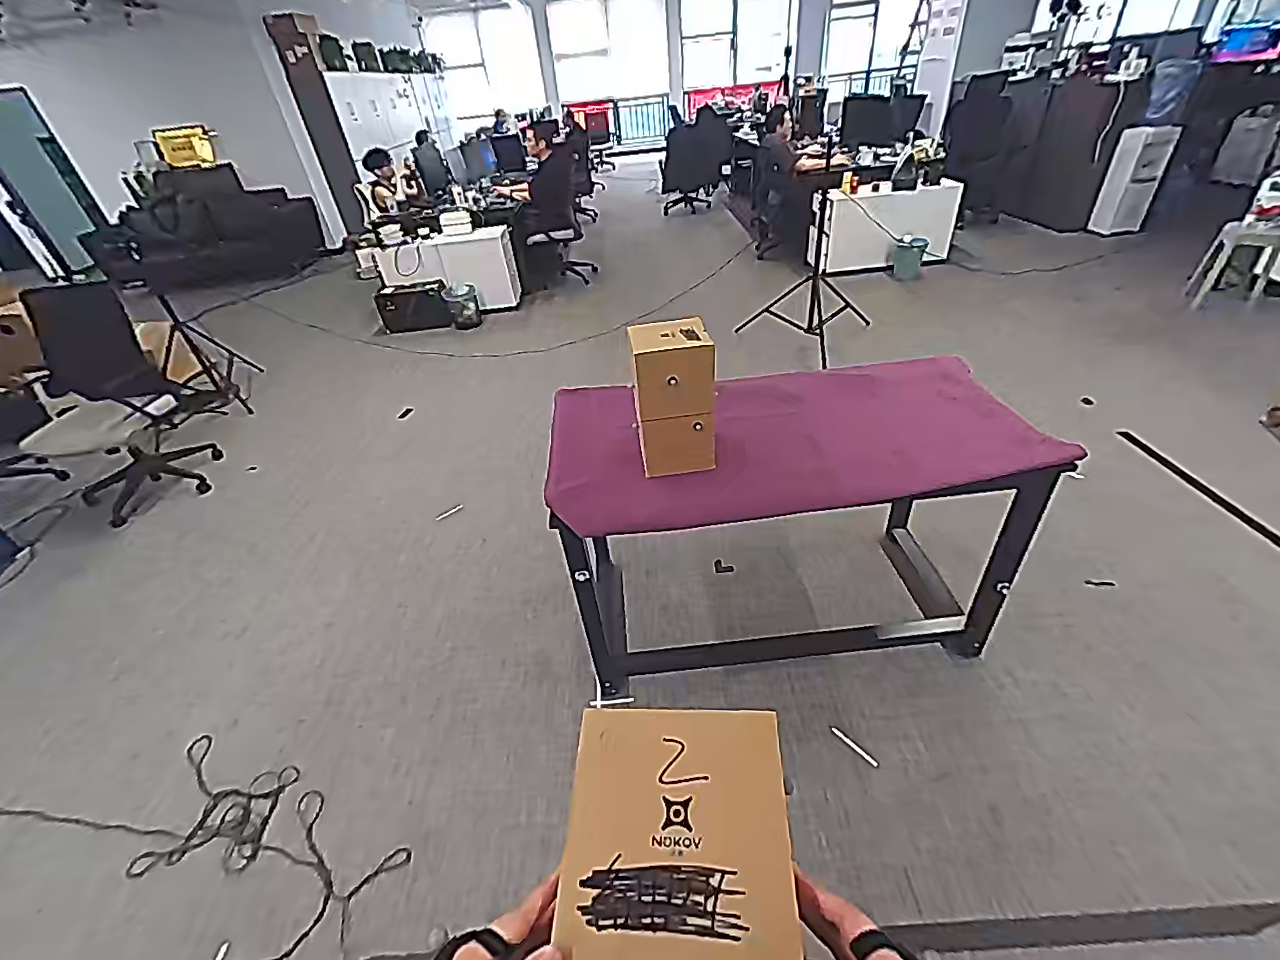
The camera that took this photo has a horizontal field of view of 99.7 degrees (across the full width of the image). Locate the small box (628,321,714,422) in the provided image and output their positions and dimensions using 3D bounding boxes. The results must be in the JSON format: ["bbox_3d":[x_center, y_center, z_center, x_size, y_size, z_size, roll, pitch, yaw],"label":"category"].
[{"bbox_3d":[0.071,-0.253,1.259,0.179,0.176,0.168,-8,36,-2],"label":"small box"}]

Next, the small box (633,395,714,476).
[{"bbox_3d":[0.084,-0.124,1.361,0.179,0.176,0.168,-8,37,-2],"label":"small box"}]
